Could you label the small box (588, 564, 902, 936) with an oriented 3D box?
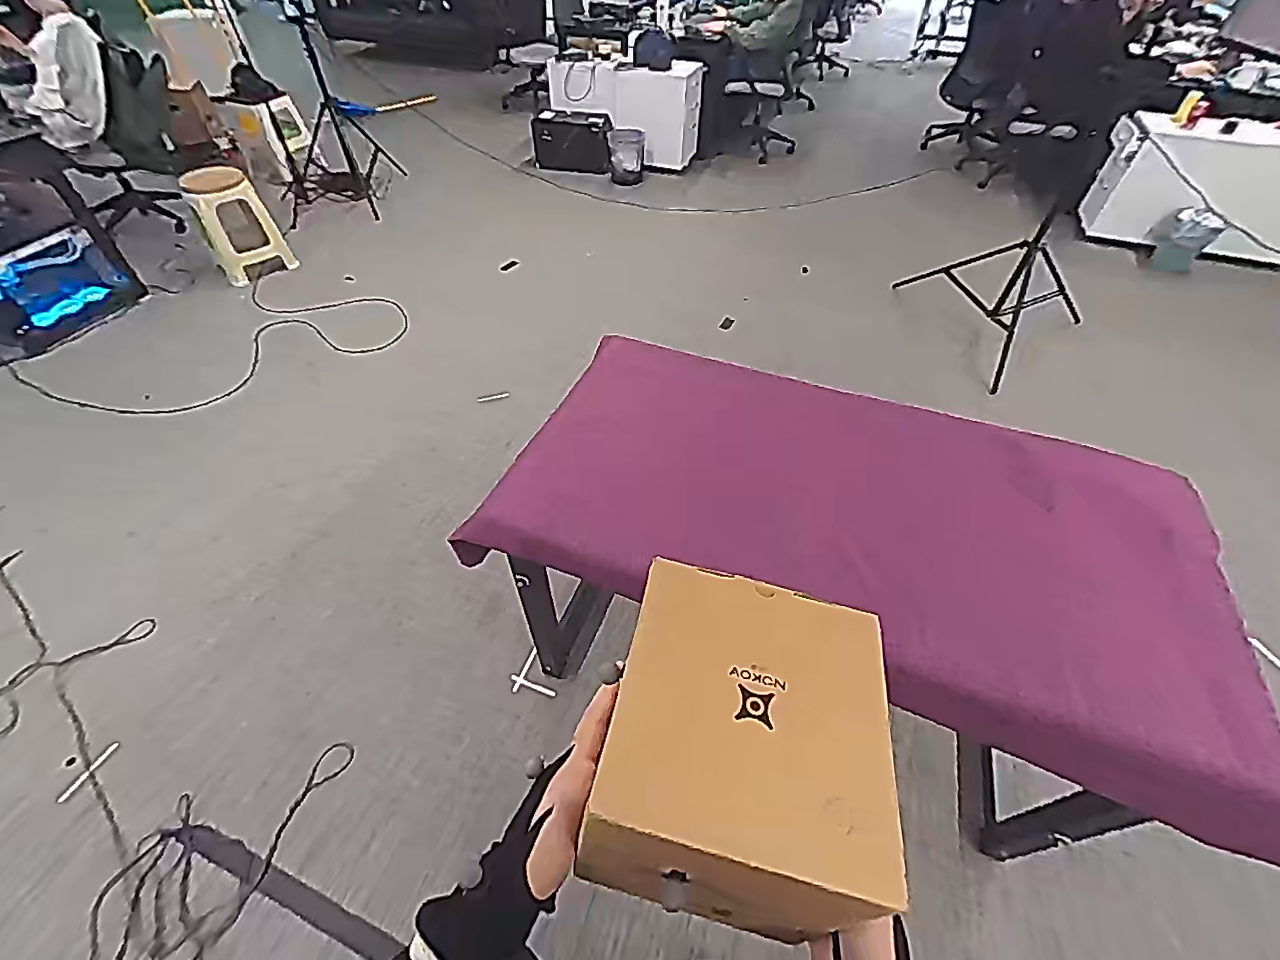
[{"bbox_3d":[0.063,0.195,0.392,0.168,0.176,0.179,14,43,4],"label":"small box"}]
